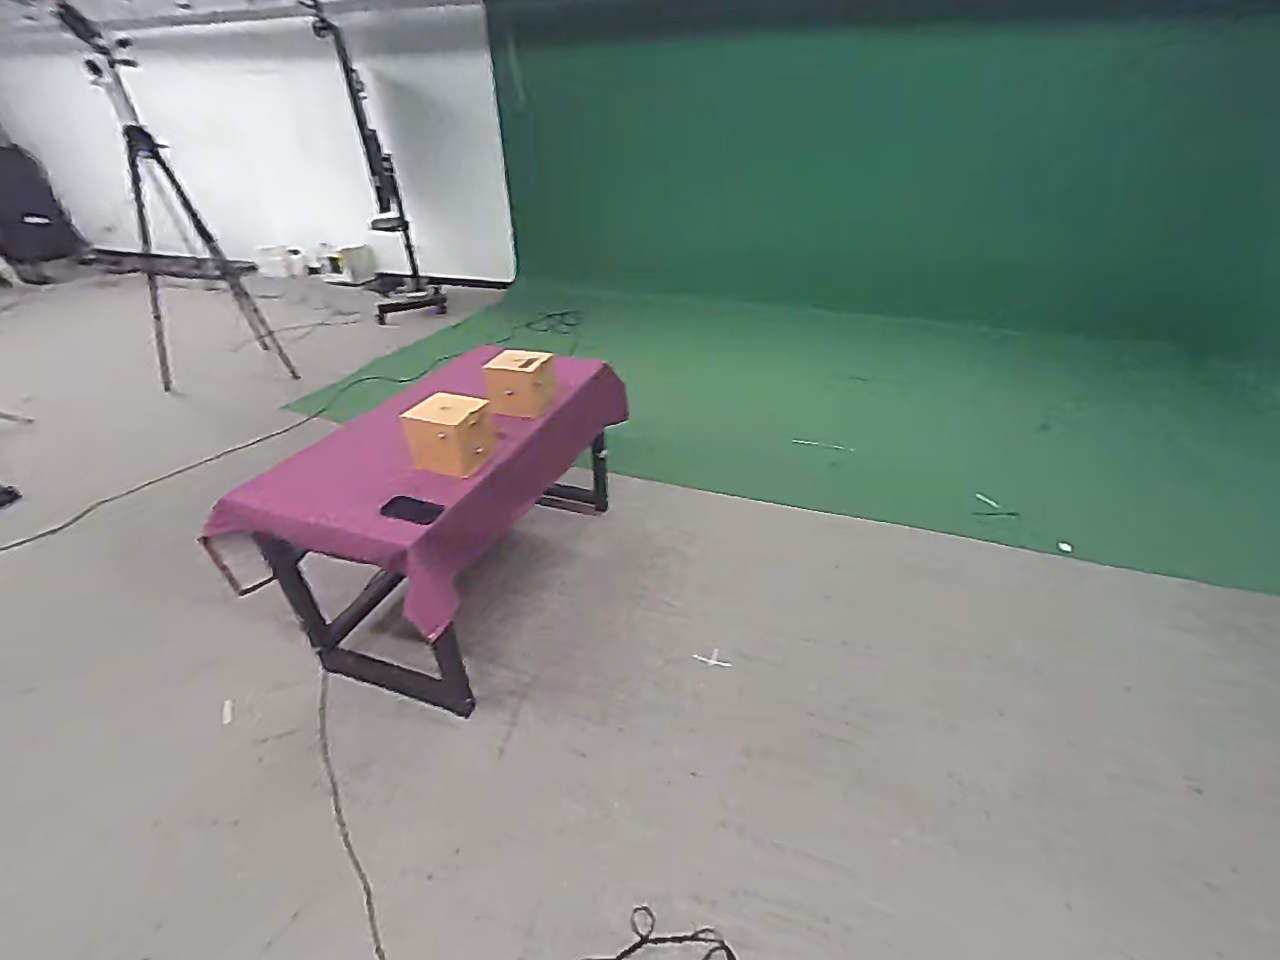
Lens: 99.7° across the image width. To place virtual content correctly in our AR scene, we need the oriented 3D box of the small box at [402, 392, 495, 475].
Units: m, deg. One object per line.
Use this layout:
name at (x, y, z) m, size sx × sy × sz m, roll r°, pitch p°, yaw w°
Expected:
small box at (-0.533, -0.131, 1.526) m, size 0.179 × 0.176 × 0.168 m, roll 12°, pitch 35°, yaw 16°
